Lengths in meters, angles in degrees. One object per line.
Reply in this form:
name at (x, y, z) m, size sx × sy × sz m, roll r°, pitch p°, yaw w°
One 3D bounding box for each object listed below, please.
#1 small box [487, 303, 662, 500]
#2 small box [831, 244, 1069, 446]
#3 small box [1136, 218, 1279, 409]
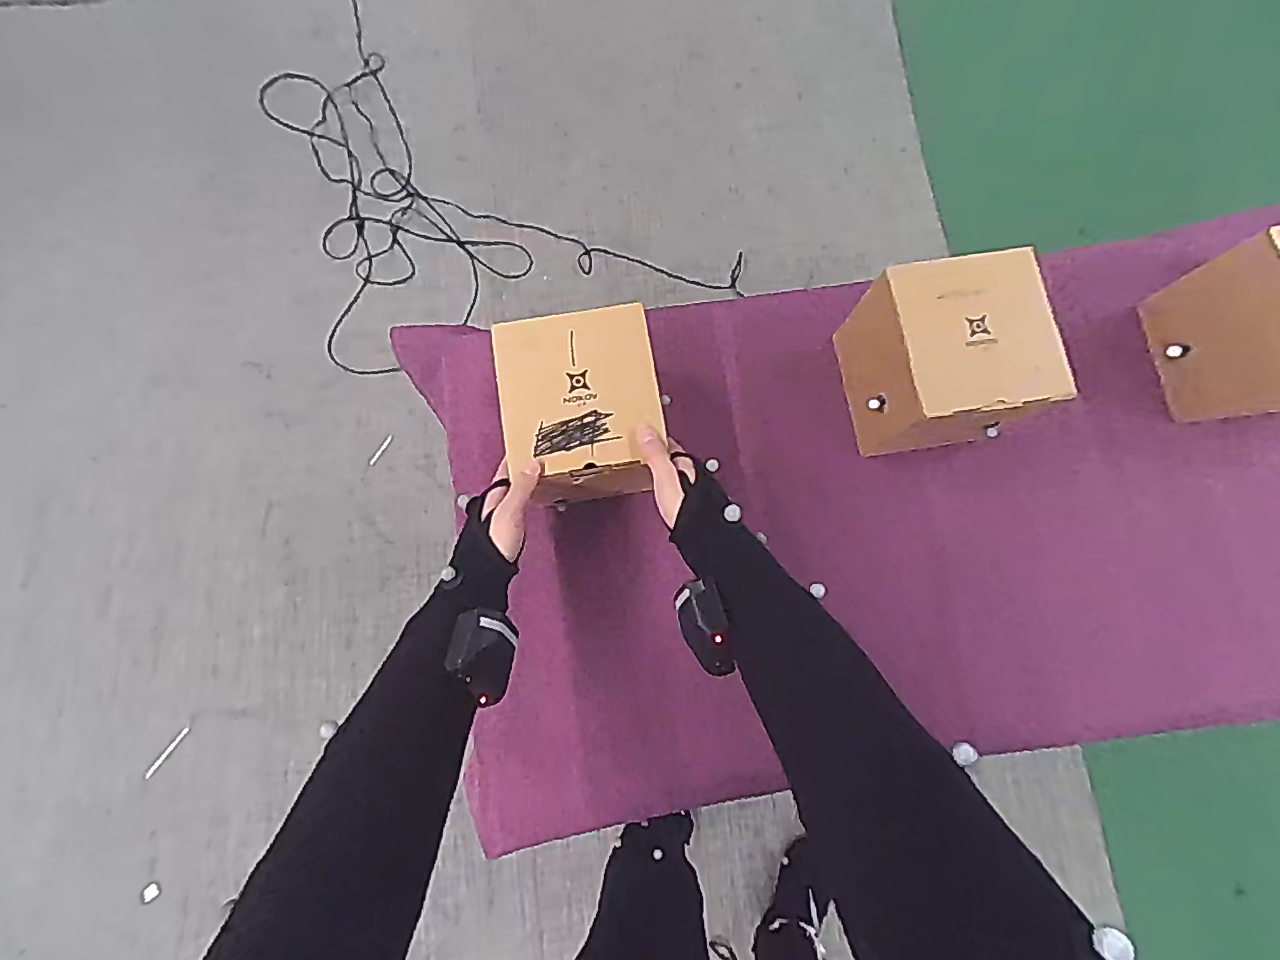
small box at (-0.068, -0.078, 0.638) m, size 0.168 × 0.176 × 0.179 m, roll -10°, pitch 78°, yaw -2°
small box at (0.349, -0.146, 0.647) m, size 0.168 × 0.176 × 0.179 m, roll -8°, pitch 78°, yaw -1°
small box at (0.763, -0.193, 0.647) m, size 0.168 × 0.176 × 0.179 m, roll -7°, pitch 79°, yaw 0°
